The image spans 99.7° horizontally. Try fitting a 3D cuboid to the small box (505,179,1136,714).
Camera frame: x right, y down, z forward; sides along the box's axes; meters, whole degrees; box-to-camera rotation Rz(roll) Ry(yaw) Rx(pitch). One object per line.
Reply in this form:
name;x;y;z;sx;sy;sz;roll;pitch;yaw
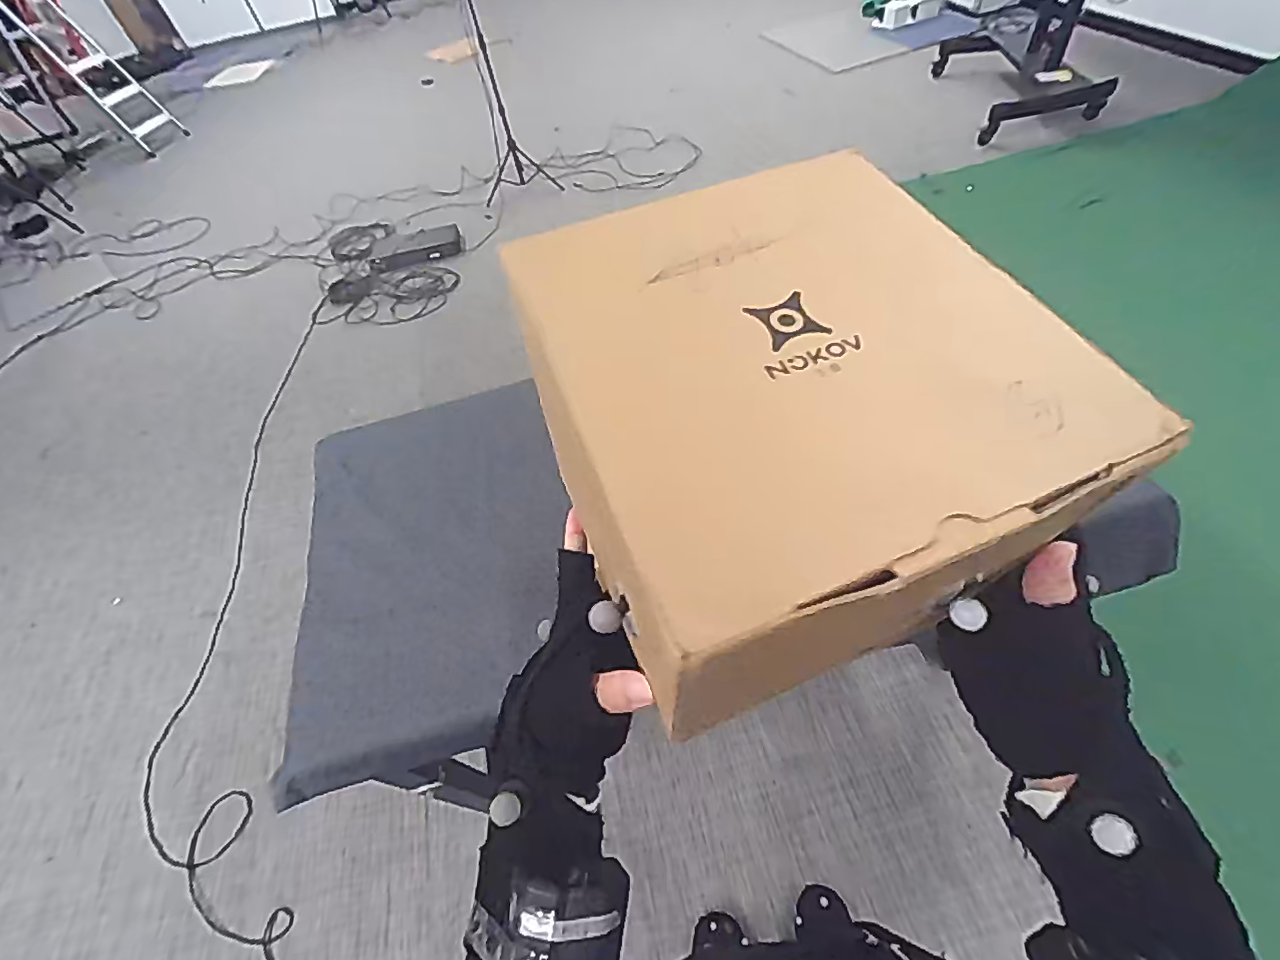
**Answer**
small box;0.053;-0.005;0.264;0.168;0.176;0.179;-20;58;-12
